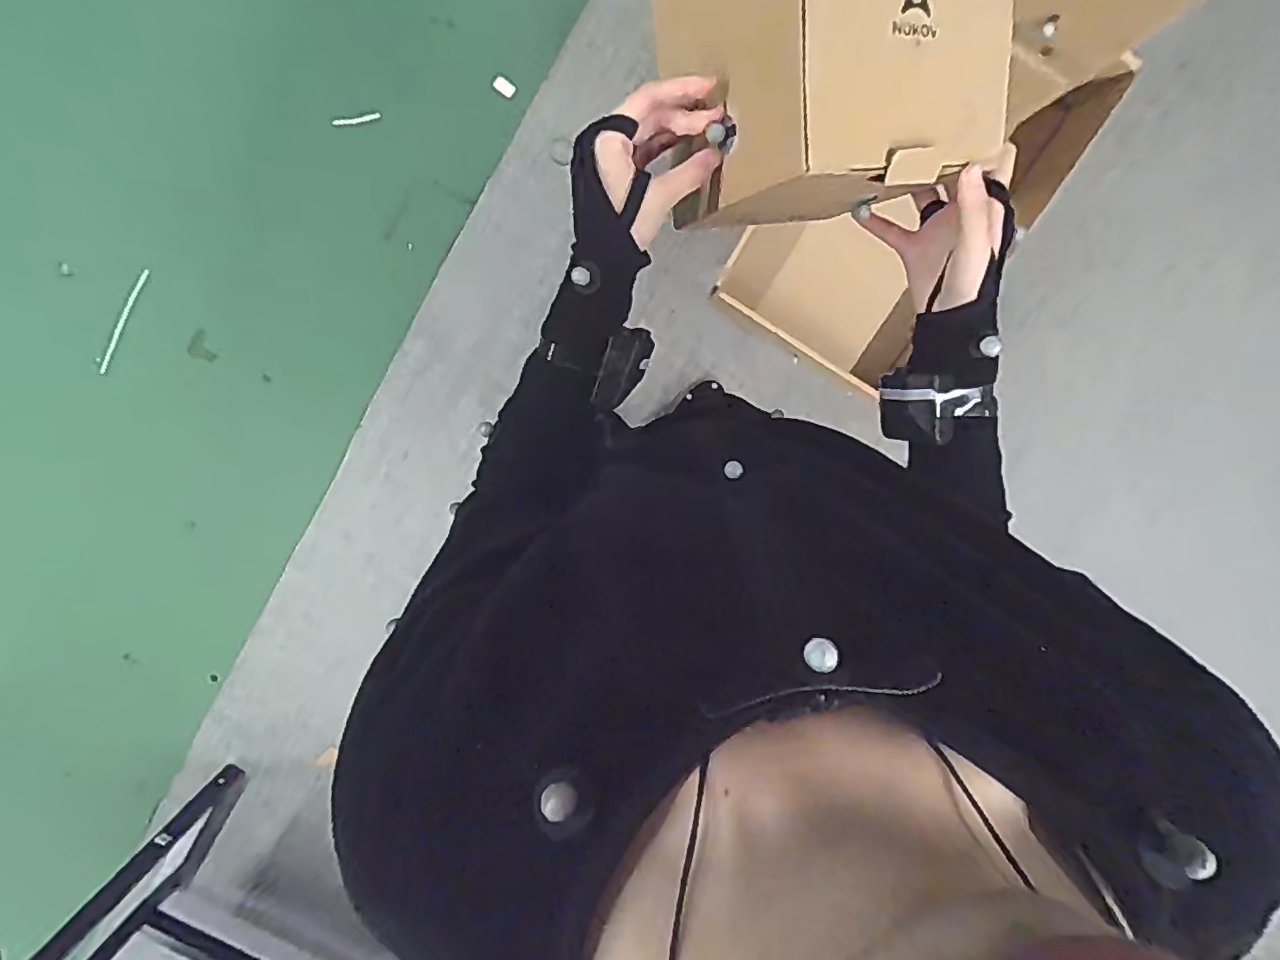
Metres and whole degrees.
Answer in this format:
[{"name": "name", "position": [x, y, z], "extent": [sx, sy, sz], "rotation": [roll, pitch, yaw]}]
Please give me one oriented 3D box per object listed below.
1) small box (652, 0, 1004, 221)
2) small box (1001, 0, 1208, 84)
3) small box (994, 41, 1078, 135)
[{"name": "small box", "position": [0.120, -0.292, 0.384], "extent": [0.168, 0.176, 0.179], "rotation": [-13, 107, -21]}, {"name": "small box", "position": [0.498, -0.570, 0.556], "extent": [0.168, 0.176, 0.179], "rotation": [29, 101, -4]}, {"name": "small box", "position": [0.490, -0.597, 0.719], "extent": [0.179, 0.176, 0.168], "rotation": [27, 101, -4]}]
